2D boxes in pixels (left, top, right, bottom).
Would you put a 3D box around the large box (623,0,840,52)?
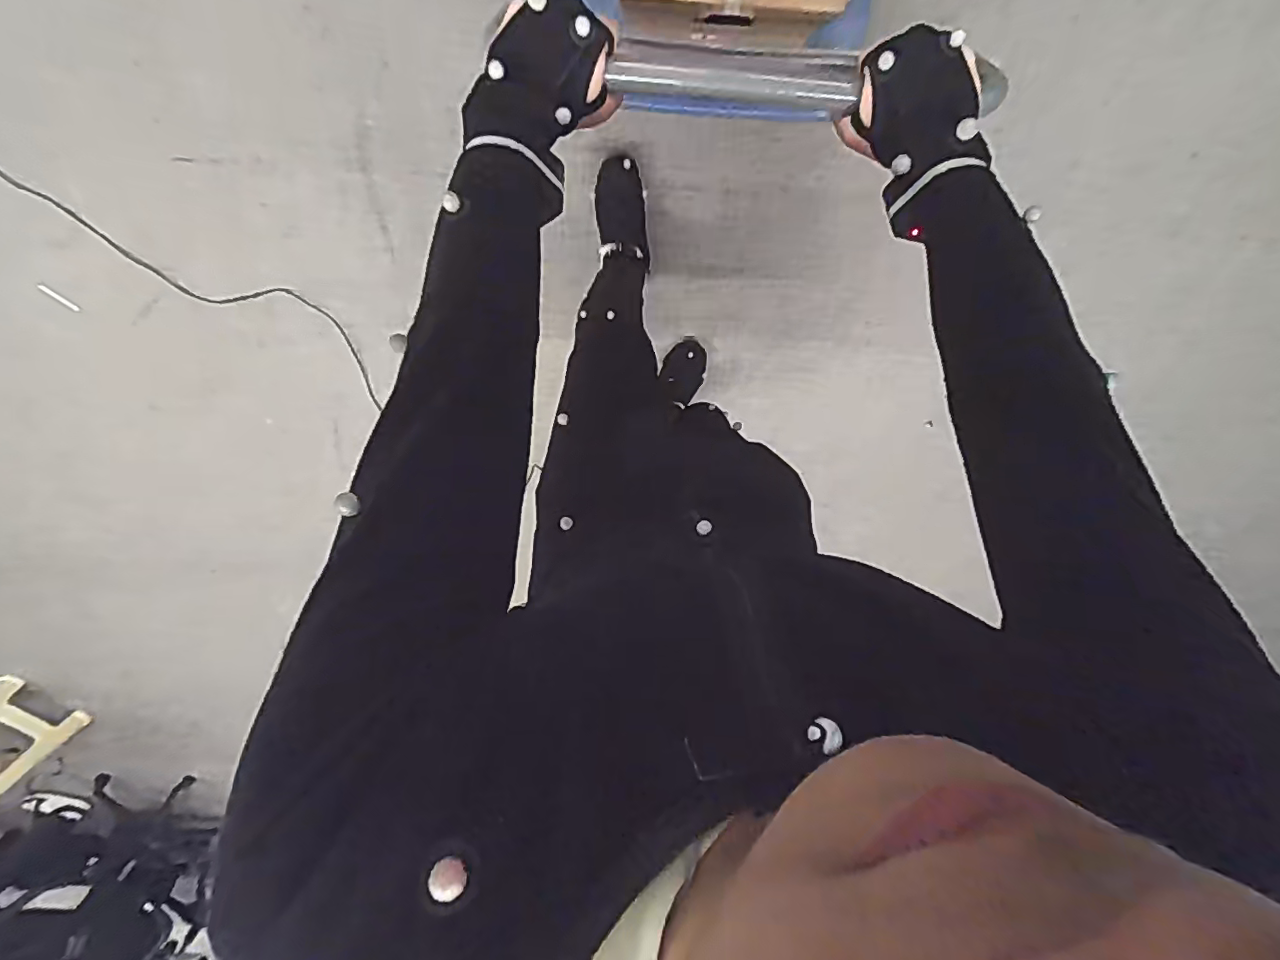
[{"bbox_3d":[0.140,-0.901,0.781,0.320,0.320,0.408,4,120,-1],"label":"large box"}]
